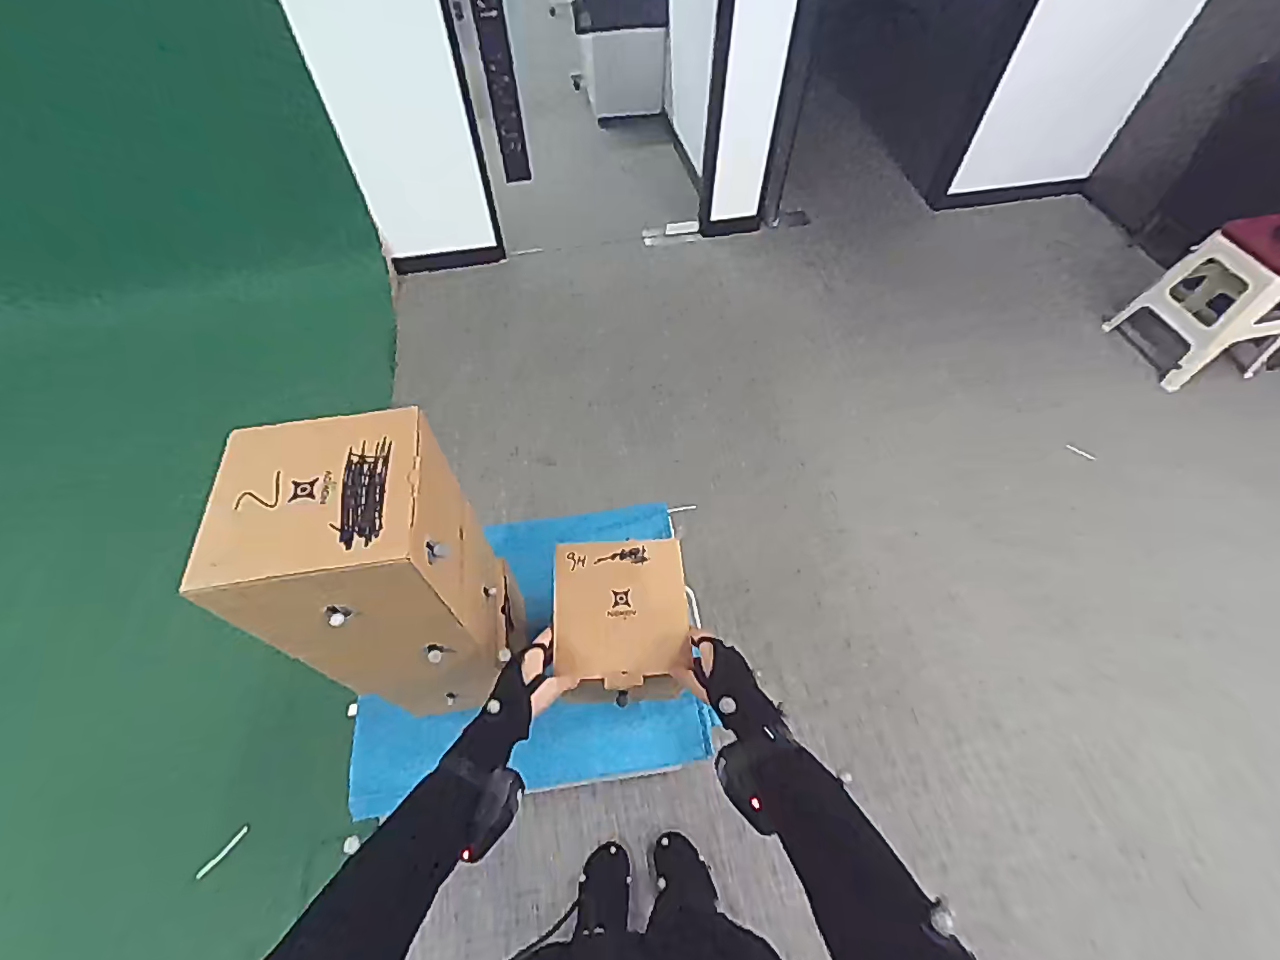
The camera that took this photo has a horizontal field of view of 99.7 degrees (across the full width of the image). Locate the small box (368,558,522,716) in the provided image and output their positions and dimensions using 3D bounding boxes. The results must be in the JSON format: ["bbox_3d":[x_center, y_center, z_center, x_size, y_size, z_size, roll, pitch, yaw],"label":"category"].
[{"bbox_3d":[-0.273,0.235,0.797,0.179,0.176,0.168,-8,55,-6],"label":"small box"}]

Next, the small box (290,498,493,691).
[{"bbox_3d":[-0.281,0.143,0.661,0.179,0.176,0.168,-8,55,-6],"label":"small box"}]

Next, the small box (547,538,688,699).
[{"bbox_3d":[-0.032,0.192,0.727,0.168,0.176,0.179,-1,60,-5],"label":"small box"}]
